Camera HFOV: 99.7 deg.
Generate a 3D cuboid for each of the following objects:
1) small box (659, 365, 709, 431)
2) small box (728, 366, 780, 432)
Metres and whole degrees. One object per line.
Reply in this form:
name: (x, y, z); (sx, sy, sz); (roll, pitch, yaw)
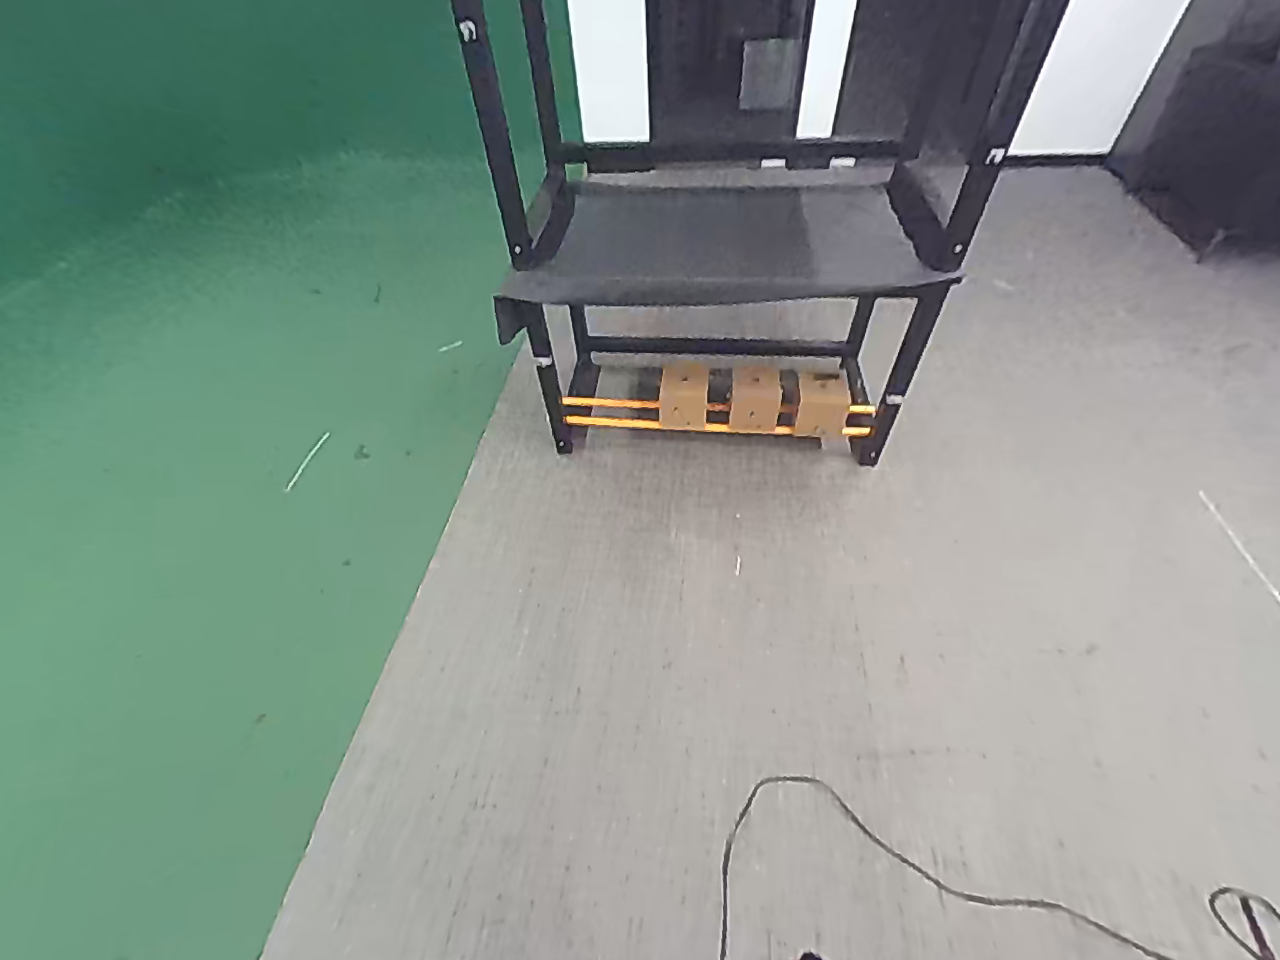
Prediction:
small box: (0.160, -0.295, 1.959); (0.168, 0.176, 0.179); (4, 51, 6)
small box: (0.406, -0.288, 1.935); (0.168, 0.176, 0.179); (3, 50, 6)
